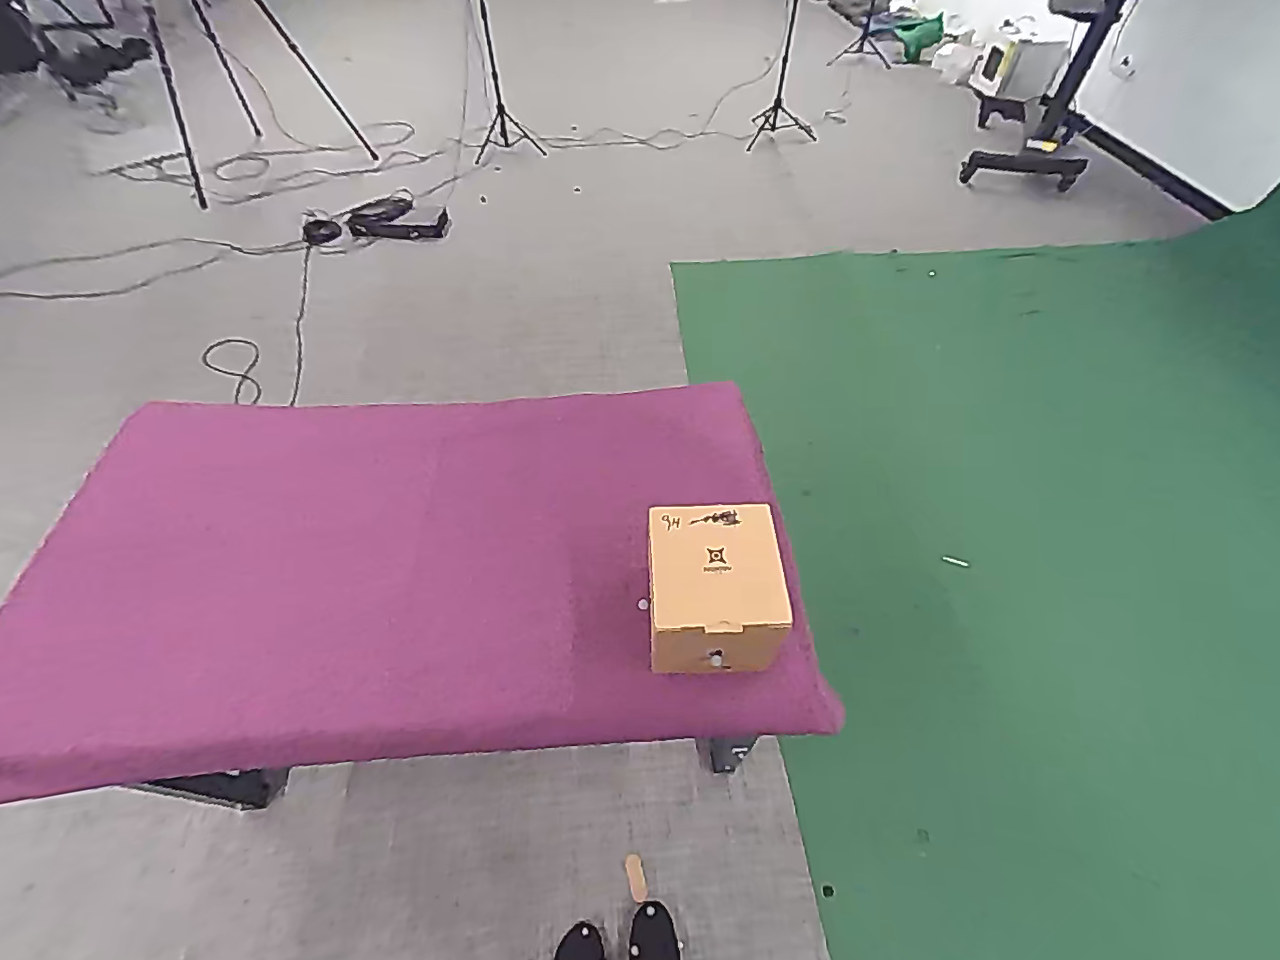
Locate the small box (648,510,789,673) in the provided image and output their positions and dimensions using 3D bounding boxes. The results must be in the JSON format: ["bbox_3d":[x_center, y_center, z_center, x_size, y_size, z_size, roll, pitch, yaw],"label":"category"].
[{"bbox_3d":[0.096,0.159,0.743,0.168,0.176,0.179,-1,54,0],"label":"small box"}]
